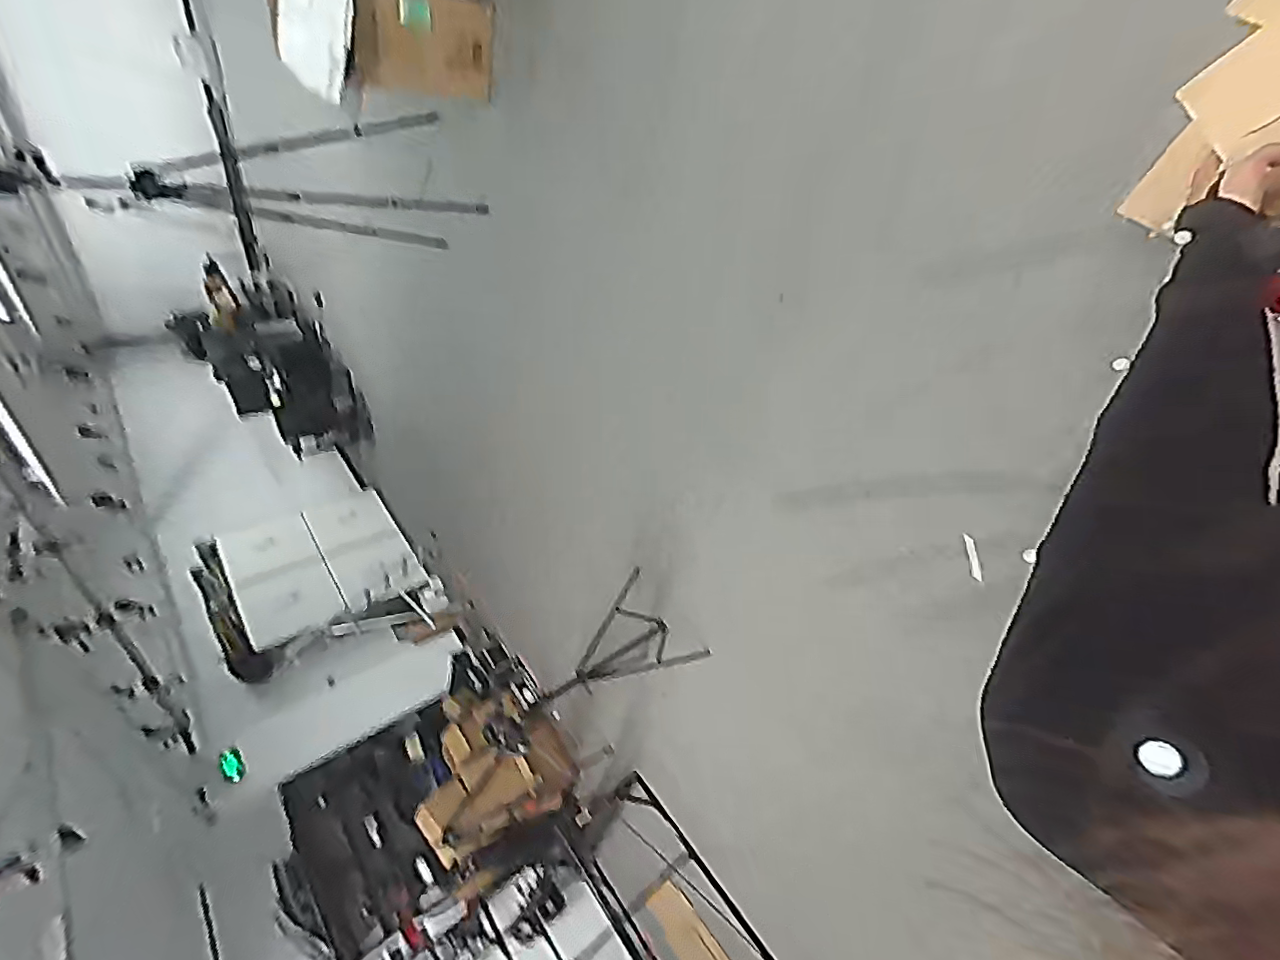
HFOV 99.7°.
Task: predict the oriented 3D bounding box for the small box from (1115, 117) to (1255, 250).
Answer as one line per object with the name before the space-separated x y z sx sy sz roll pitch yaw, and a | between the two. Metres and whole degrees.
small box | 1.062 -0.553 1.016 0.179 0.176 0.168 47 140 26

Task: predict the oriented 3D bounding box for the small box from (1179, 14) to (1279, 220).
small box | 0.688 -0.383 0.518 0.179 0.176 0.168 -37 76 58
